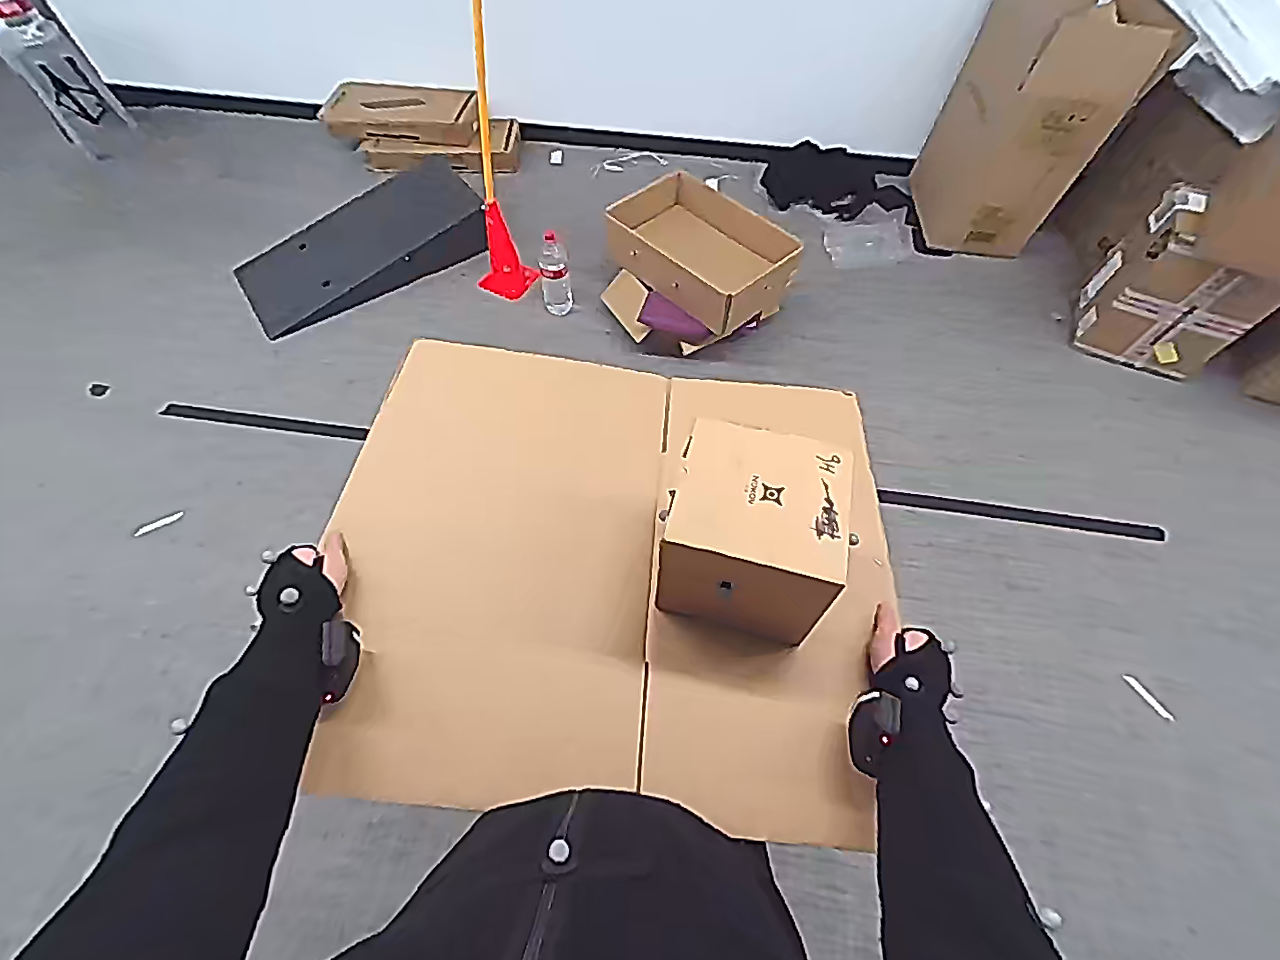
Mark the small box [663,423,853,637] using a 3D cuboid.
[{"bbox_3d":[0.127,0.062,0.621,0.179,0.176,0.168,12,56,9],"label":"small box"}]
